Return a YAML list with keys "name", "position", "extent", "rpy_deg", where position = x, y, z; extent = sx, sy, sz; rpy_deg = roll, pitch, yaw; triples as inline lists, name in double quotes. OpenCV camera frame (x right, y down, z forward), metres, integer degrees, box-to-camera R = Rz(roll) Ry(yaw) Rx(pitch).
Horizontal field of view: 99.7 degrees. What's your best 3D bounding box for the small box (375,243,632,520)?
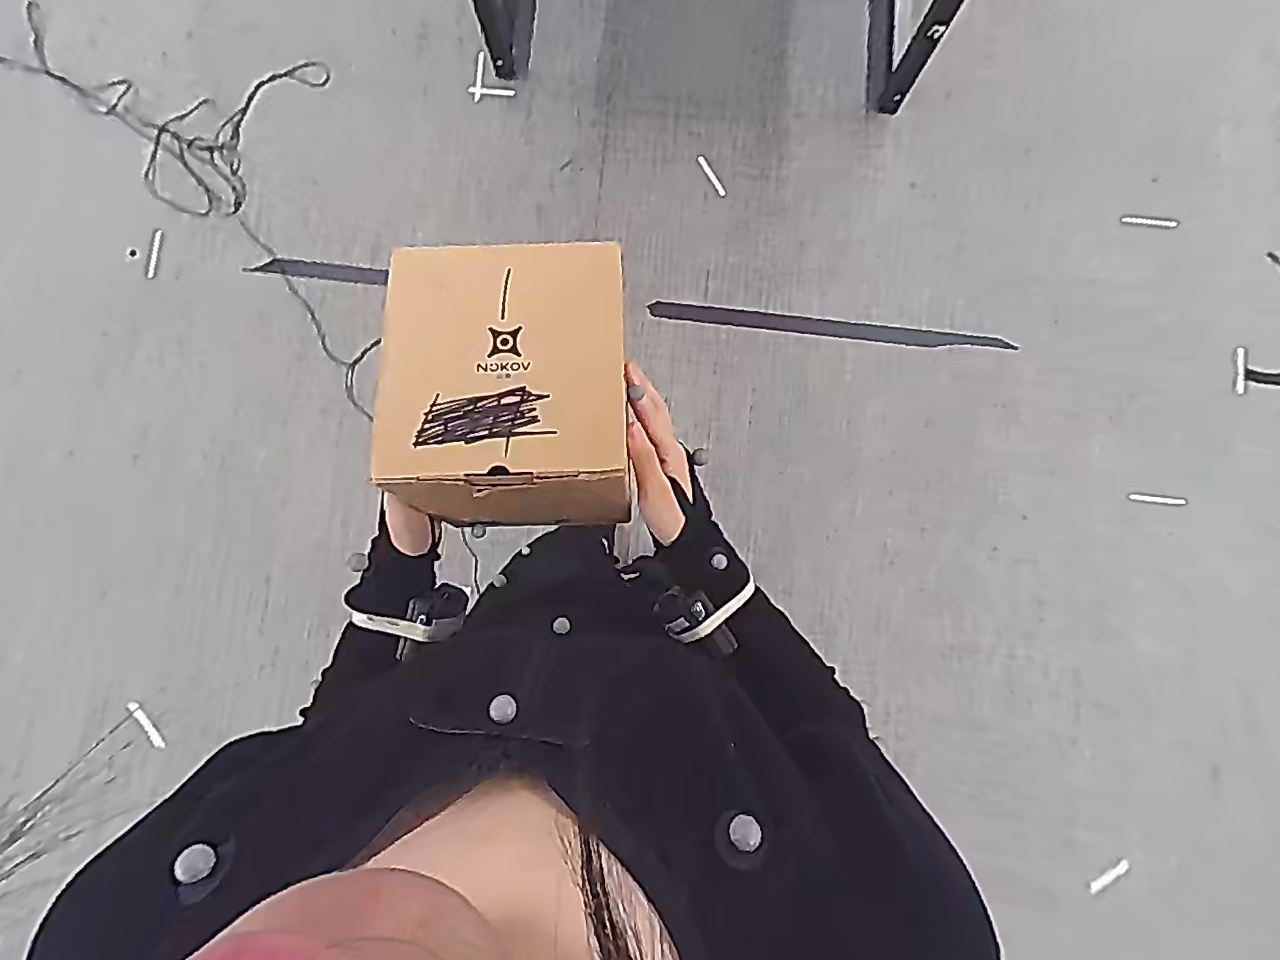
- name: "small box"
  position: [-0.091, -0.065, 0.444]
  extent: [0.168, 0.176, 0.179]
  rpy_deg: [-1, 74, -1]
